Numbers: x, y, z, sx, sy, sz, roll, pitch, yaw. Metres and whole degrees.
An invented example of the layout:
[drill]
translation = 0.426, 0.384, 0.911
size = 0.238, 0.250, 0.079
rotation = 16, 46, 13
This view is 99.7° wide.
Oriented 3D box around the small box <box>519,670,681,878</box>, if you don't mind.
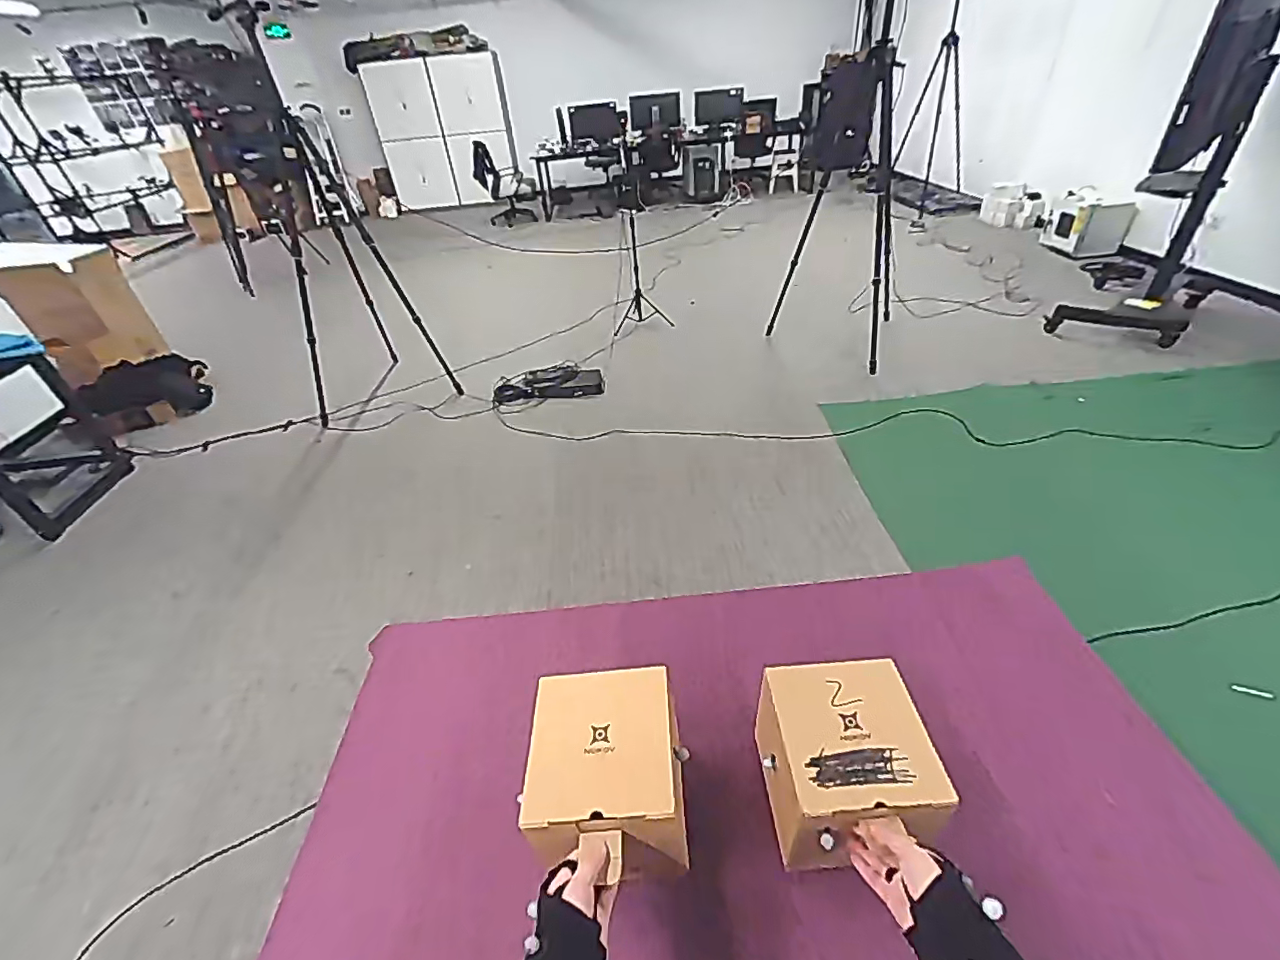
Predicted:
[small box]
translation = -0.040, 0.367, 0.681
size = 0.168, 0.176, 0.179
rotation = -6, 38, 3
